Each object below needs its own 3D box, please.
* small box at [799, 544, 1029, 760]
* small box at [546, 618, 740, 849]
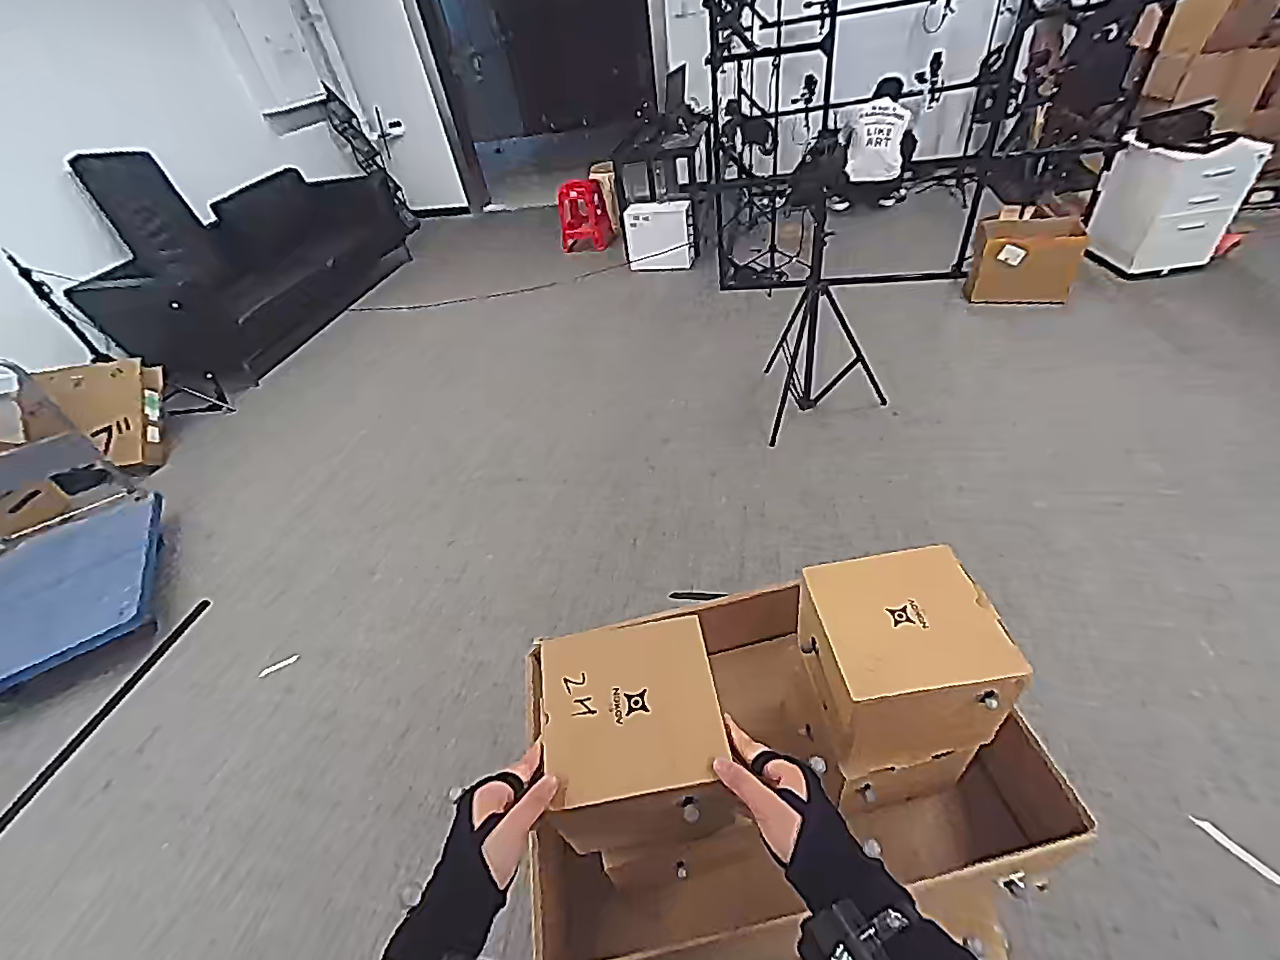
[{"bbox_3d":[0.294,0.203,0.629,0.179,0.176,0.168,-10,42,2],"label":"small box"},{"bbox_3d":[0.003,0.276,0.587,0.179,0.176,0.168,-11,44,0],"label":"small box"}]
